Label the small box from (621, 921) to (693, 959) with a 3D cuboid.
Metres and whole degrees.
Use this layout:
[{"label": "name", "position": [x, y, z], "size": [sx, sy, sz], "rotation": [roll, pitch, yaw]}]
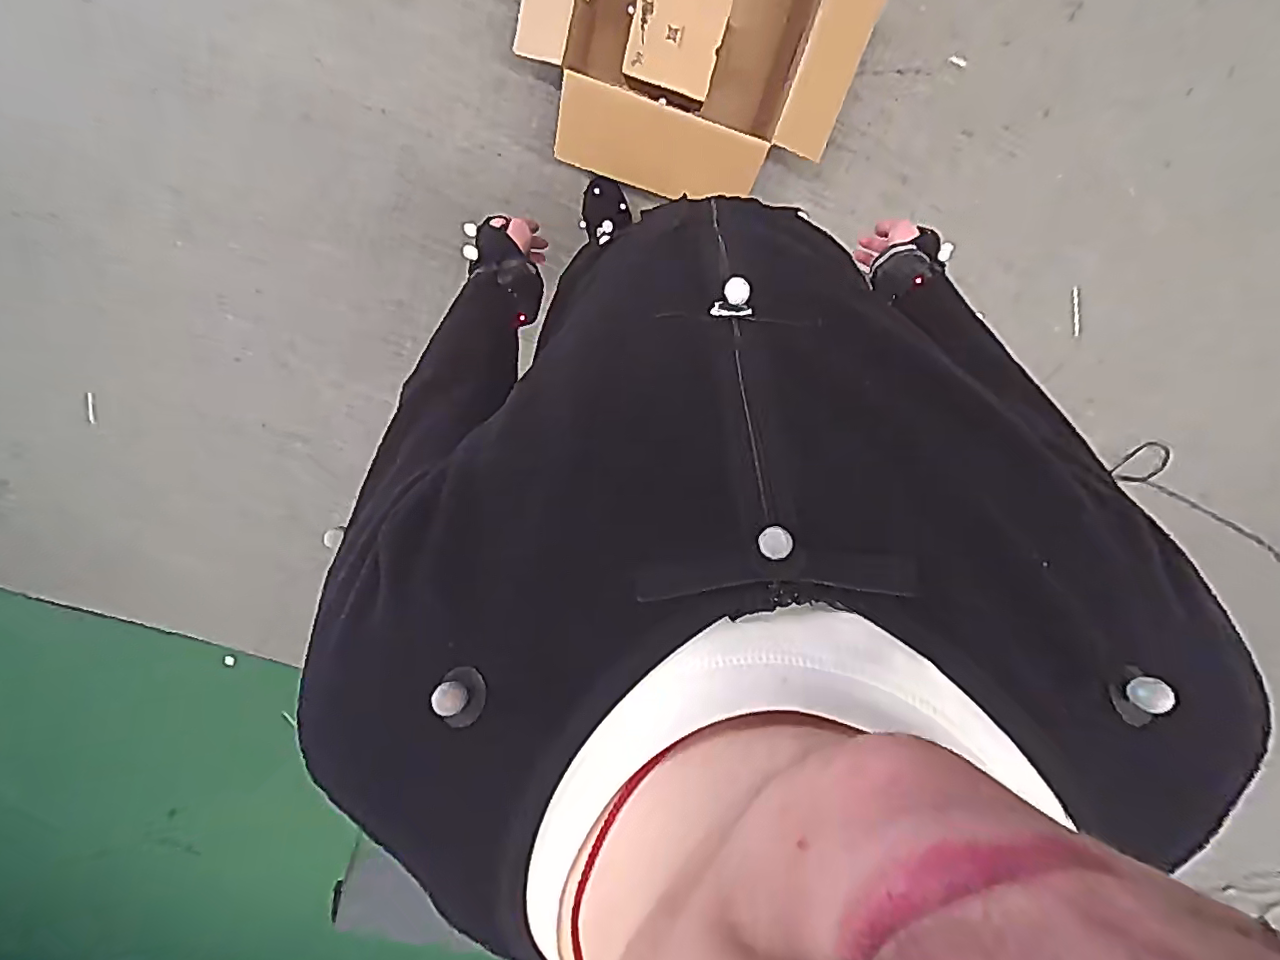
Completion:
[{"label": "small box", "position": [0.046, 1.403, 1.541], "size": [0.168, 0.176, 0.179], "rotation": [24, 117, -11]}]
